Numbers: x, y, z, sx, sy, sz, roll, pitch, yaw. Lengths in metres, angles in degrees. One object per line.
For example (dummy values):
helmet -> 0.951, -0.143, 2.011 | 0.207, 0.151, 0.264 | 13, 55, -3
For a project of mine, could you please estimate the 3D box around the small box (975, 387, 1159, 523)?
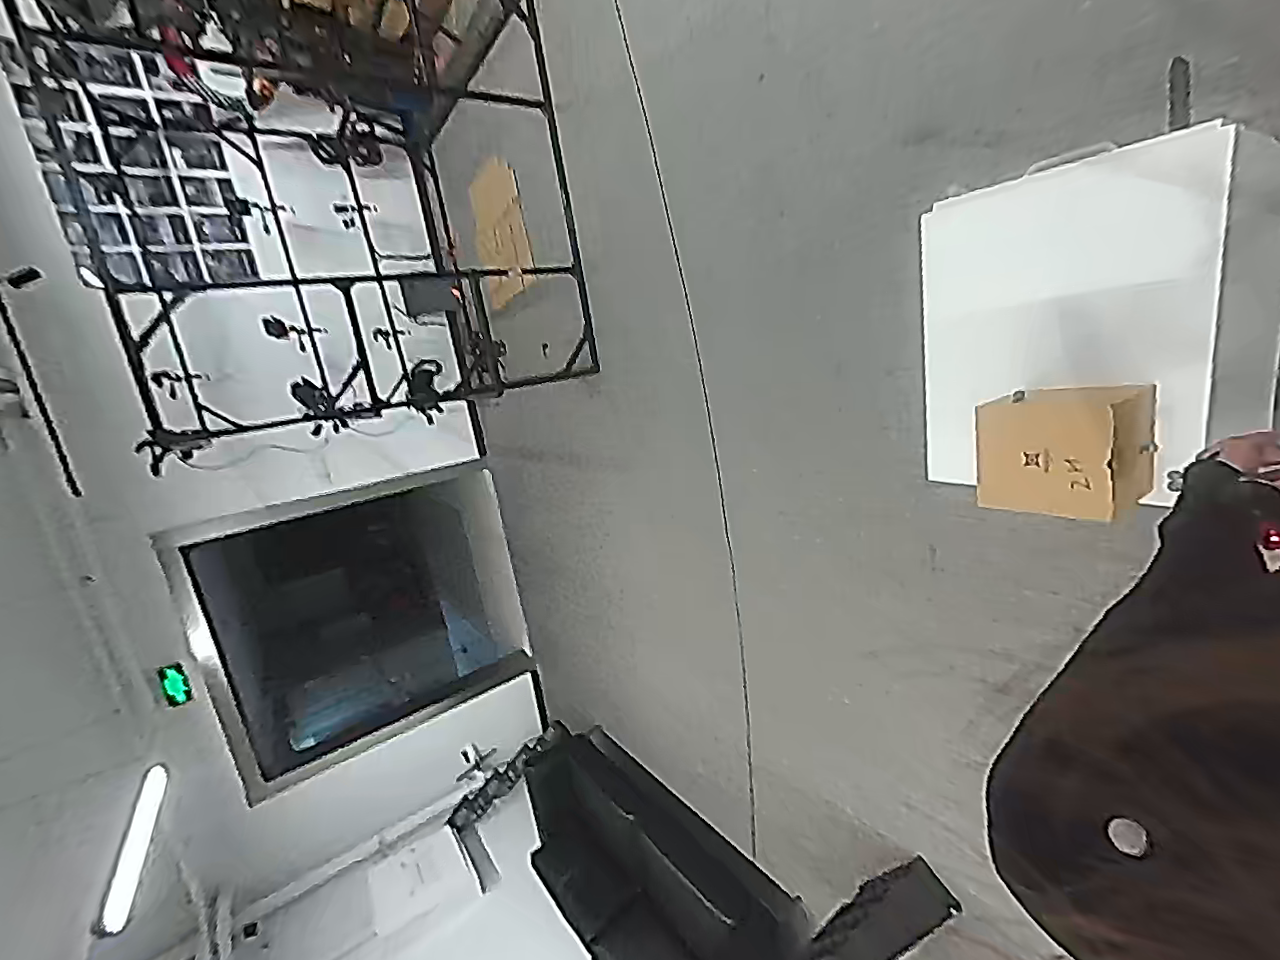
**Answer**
small box -> 0.652, -0.047, 0.834 | 0.179, 0.176, 0.168 | 10, 114, 56
